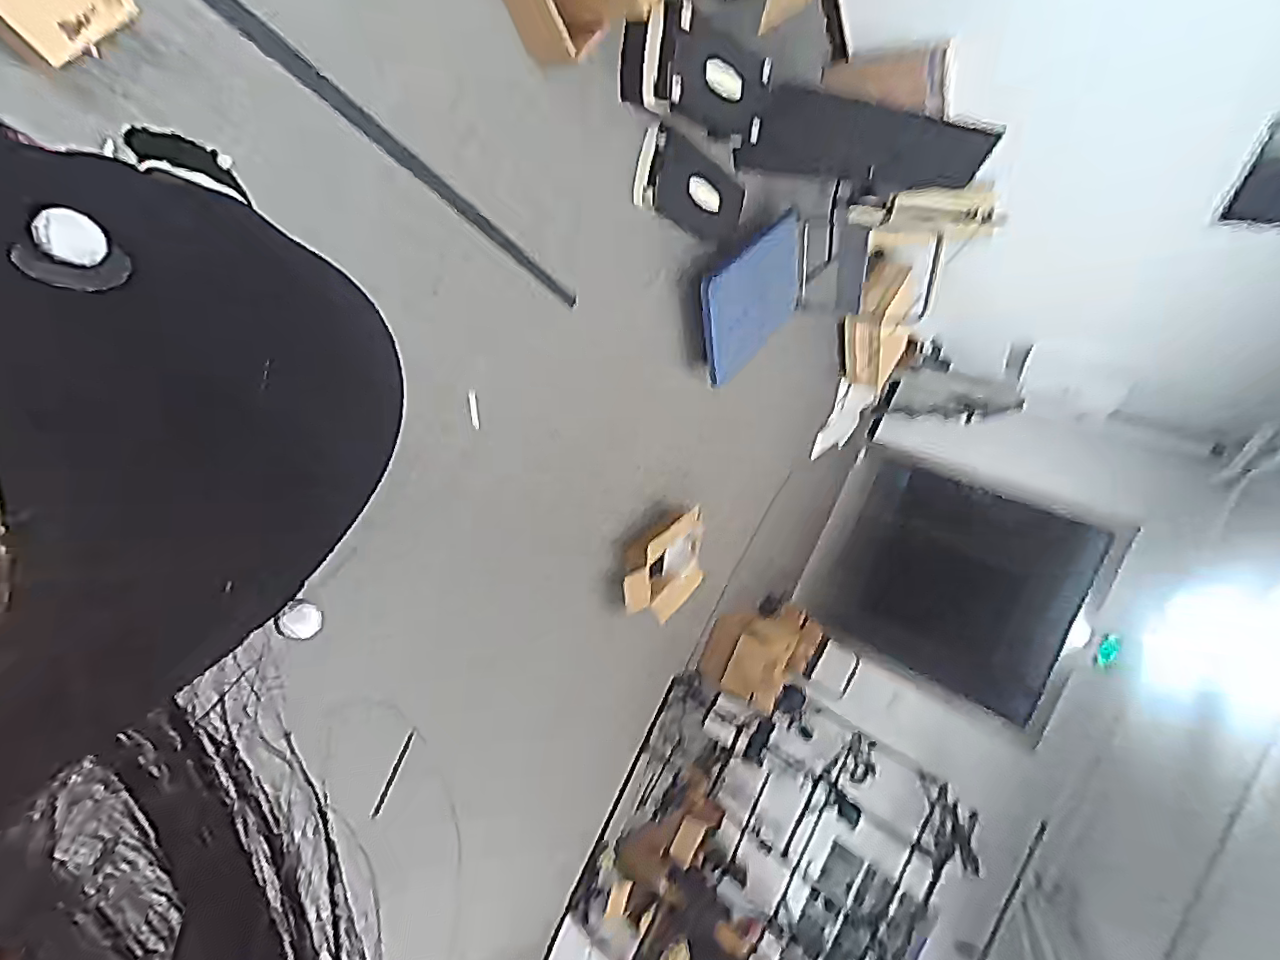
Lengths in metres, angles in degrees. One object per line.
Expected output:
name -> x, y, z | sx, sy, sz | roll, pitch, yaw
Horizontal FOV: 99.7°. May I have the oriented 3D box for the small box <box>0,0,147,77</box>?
small box -> -0.931, -0.755, 0.826 | 0.168, 0.176, 0.179 | -57, 148, -14
